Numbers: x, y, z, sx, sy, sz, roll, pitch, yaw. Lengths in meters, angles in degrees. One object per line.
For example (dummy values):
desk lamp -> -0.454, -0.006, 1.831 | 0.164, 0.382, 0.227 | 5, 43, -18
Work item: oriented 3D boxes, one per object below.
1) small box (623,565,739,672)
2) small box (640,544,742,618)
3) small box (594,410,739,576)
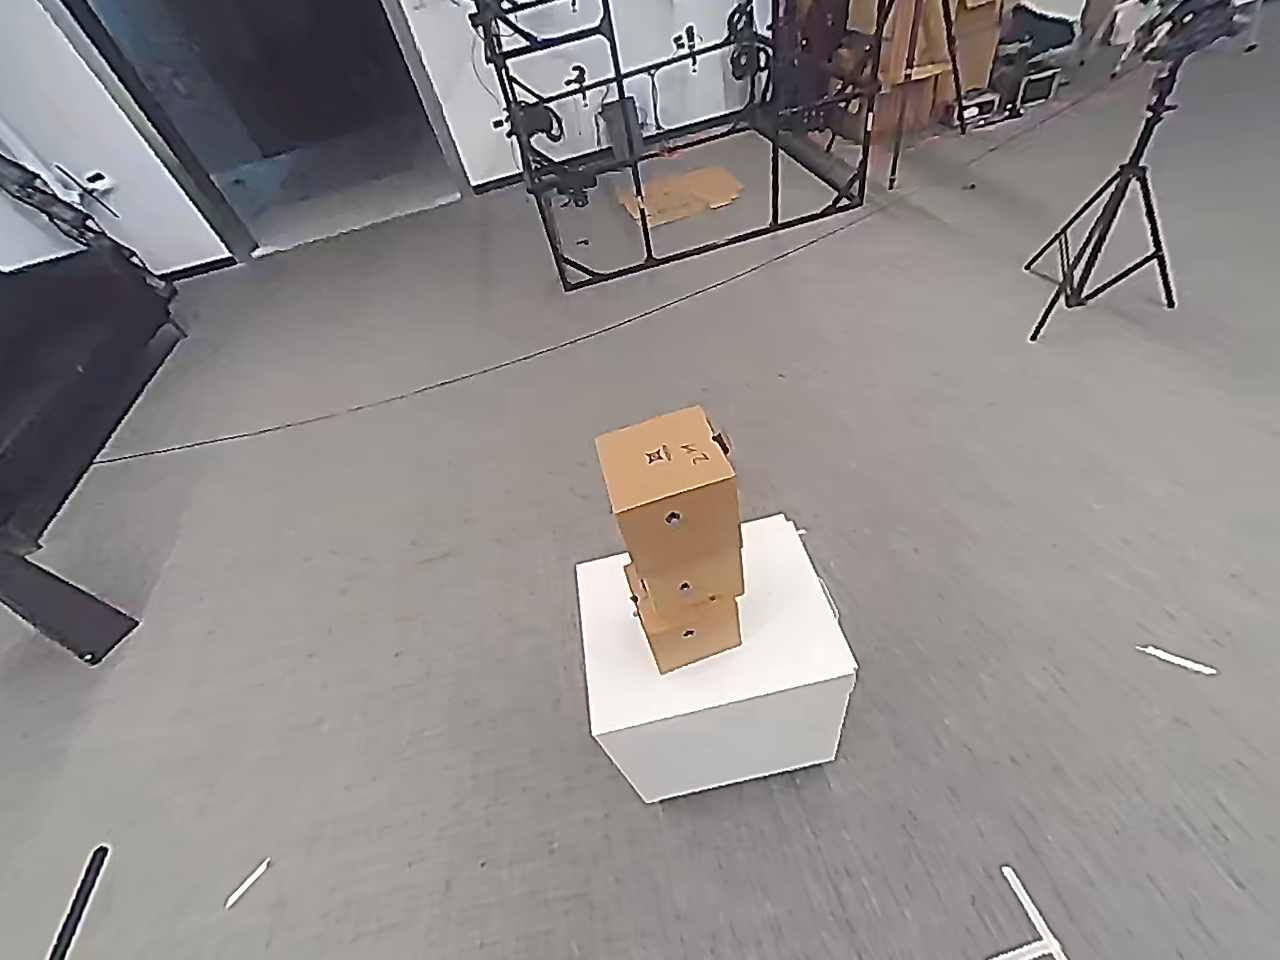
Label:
small box -> 0.084, 0.253, 1.071 | 0.179, 0.176, 0.168 | -19, 46, -4
small box -> 0.074, 0.125, 0.967 | 0.168, 0.176, 0.179 | -19, 45, -3
small box -> 0.043, 0.024, 0.839 | 0.179, 0.176, 0.168 | -17, 46, -1
